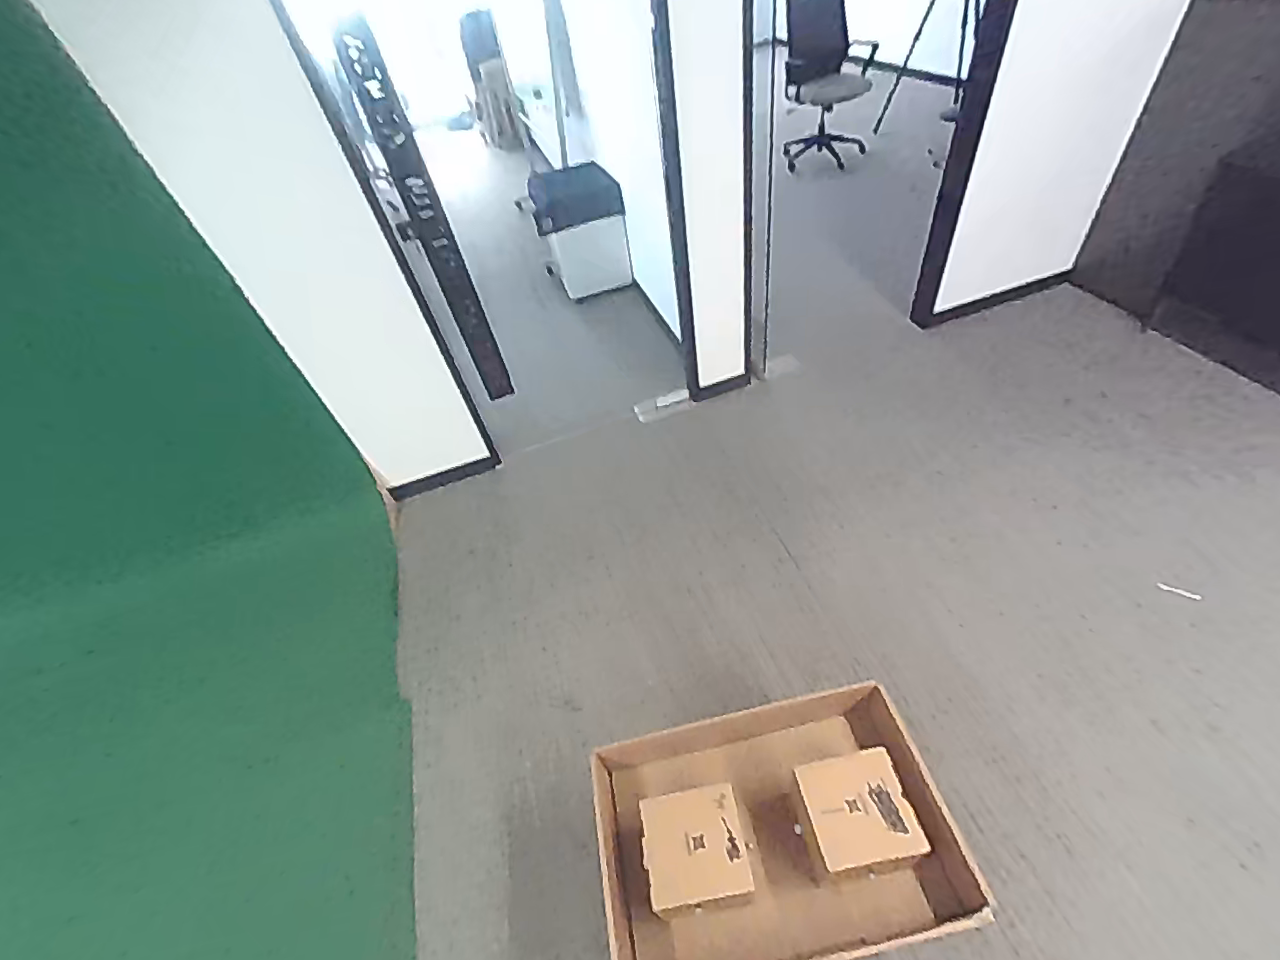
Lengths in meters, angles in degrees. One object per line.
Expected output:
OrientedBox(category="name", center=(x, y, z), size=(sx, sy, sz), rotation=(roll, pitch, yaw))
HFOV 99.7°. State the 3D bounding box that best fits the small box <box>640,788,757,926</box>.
OrientedBox(category="small box", center=(0.107, 0.692, 0.989), size=(0.179, 0.176, 0.168), rotation=(-12, 44, 2))
